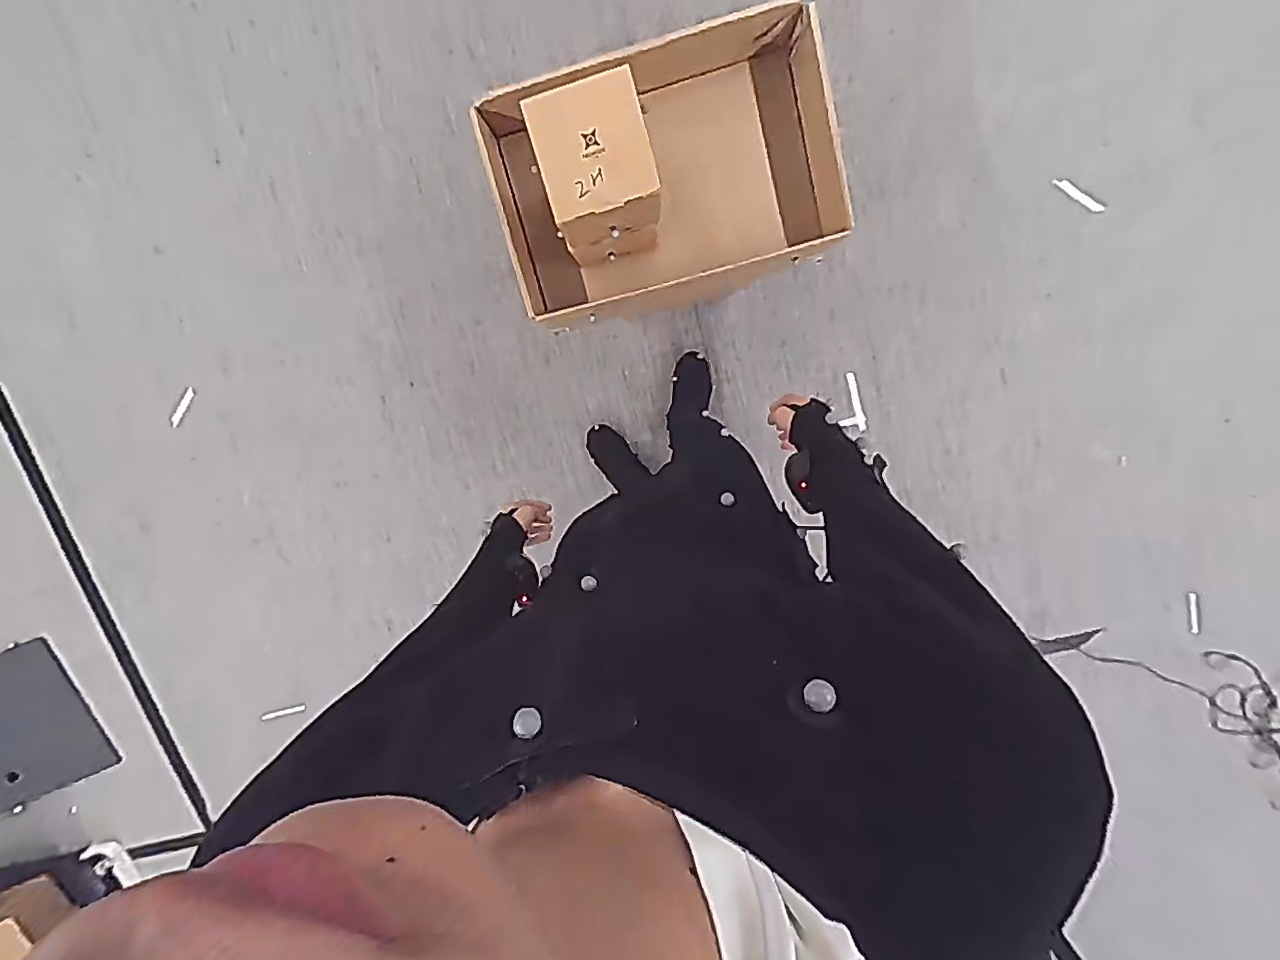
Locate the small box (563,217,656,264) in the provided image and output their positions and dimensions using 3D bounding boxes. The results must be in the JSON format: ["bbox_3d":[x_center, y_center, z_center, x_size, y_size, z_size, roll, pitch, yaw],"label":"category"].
[{"bbox_3d":[-0.071,-0.532,1.024,0.168,0.176,0.179,-15,101,4],"label":"small box"}]

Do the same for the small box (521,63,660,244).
[{"bbox_3d":[-0.070,-0.503,0.861,0.168,0.176,0.179,-16,101,4],"label":"small box"}]
